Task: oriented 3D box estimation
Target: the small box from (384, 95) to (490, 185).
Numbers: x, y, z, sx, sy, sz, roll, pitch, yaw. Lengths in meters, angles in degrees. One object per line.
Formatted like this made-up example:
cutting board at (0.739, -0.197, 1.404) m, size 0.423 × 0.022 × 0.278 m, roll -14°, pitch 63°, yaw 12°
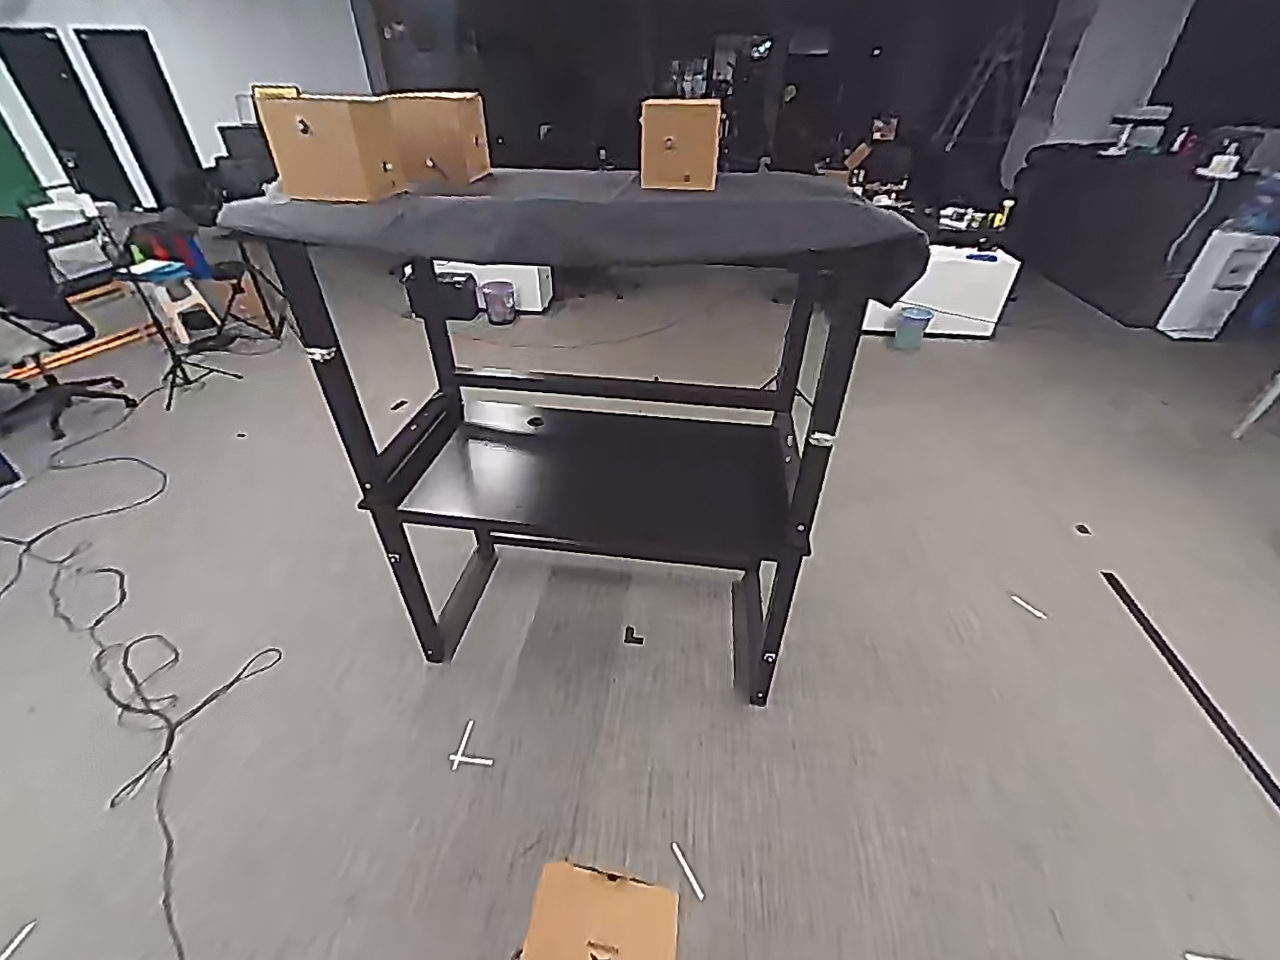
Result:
small box at (-0.474, -0.815, 1.299) m, size 0.179 × 0.176 × 0.168 m, roll 5°, pitch 37°, yaw 3°

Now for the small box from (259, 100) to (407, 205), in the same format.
small box at (-0.596, -0.653, 1.077) m, size 0.179 × 0.176 × 0.168 m, roll 3°, pitch 36°, yaw 2°

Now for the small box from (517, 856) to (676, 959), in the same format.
small box at (-0.062, 0.577, 0.609) m, size 0.168 × 0.176 × 0.179 m, roll 14°, pitch 29°, yaw 0°

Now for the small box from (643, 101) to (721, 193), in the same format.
small box at (0.099, -0.772, 1.253) m, size 0.168 × 0.176 × 0.179 m, roll 4°, pitch 37°, yaw 5°
